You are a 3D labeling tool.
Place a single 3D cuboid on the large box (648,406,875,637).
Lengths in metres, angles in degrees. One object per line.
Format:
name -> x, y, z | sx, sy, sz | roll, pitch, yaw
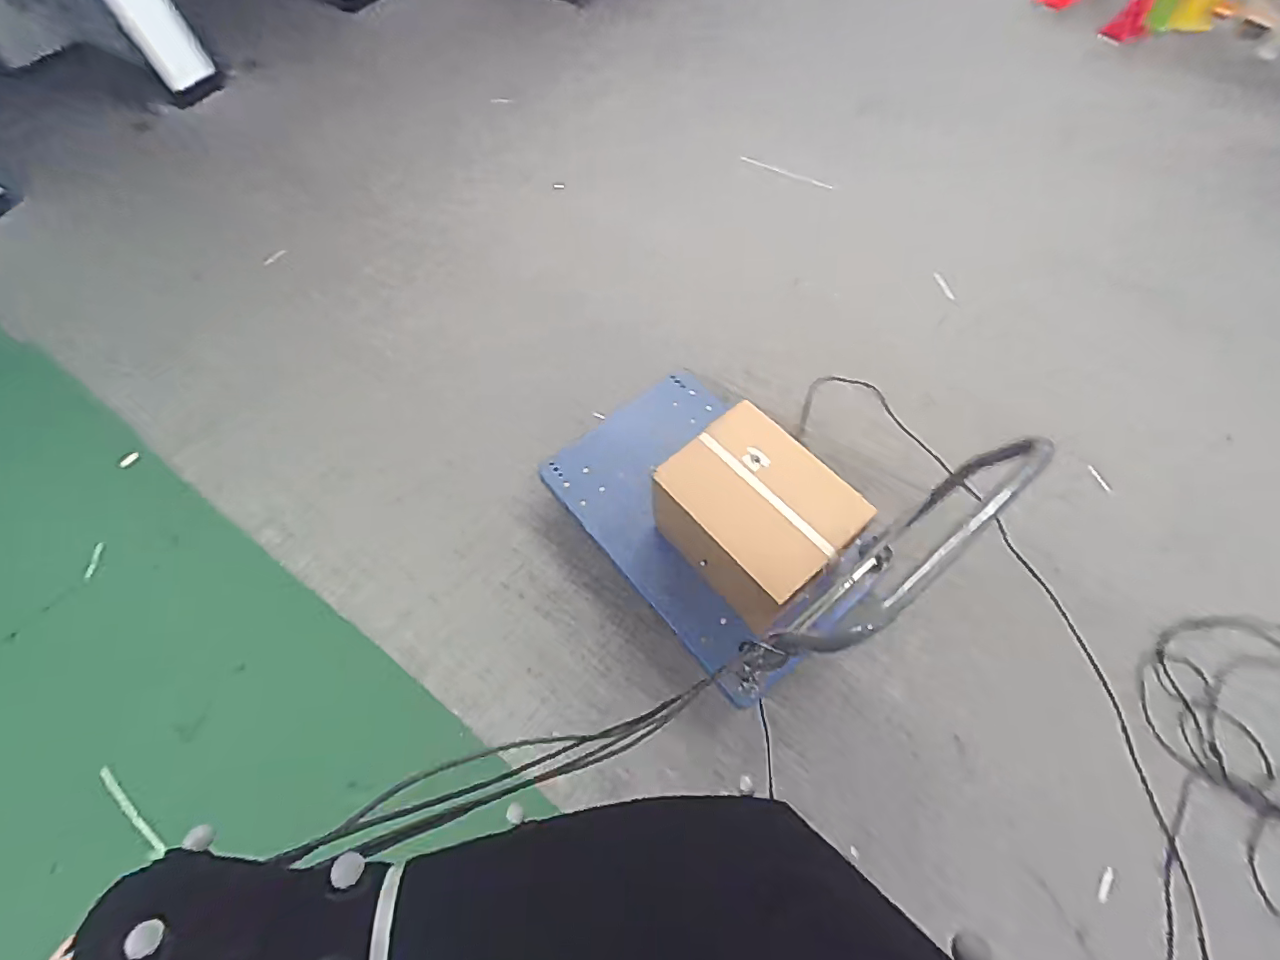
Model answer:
large box -> 0.272, 0.107, 1.319 | 0.320, 0.320, 0.408 | -38, 66, -16
